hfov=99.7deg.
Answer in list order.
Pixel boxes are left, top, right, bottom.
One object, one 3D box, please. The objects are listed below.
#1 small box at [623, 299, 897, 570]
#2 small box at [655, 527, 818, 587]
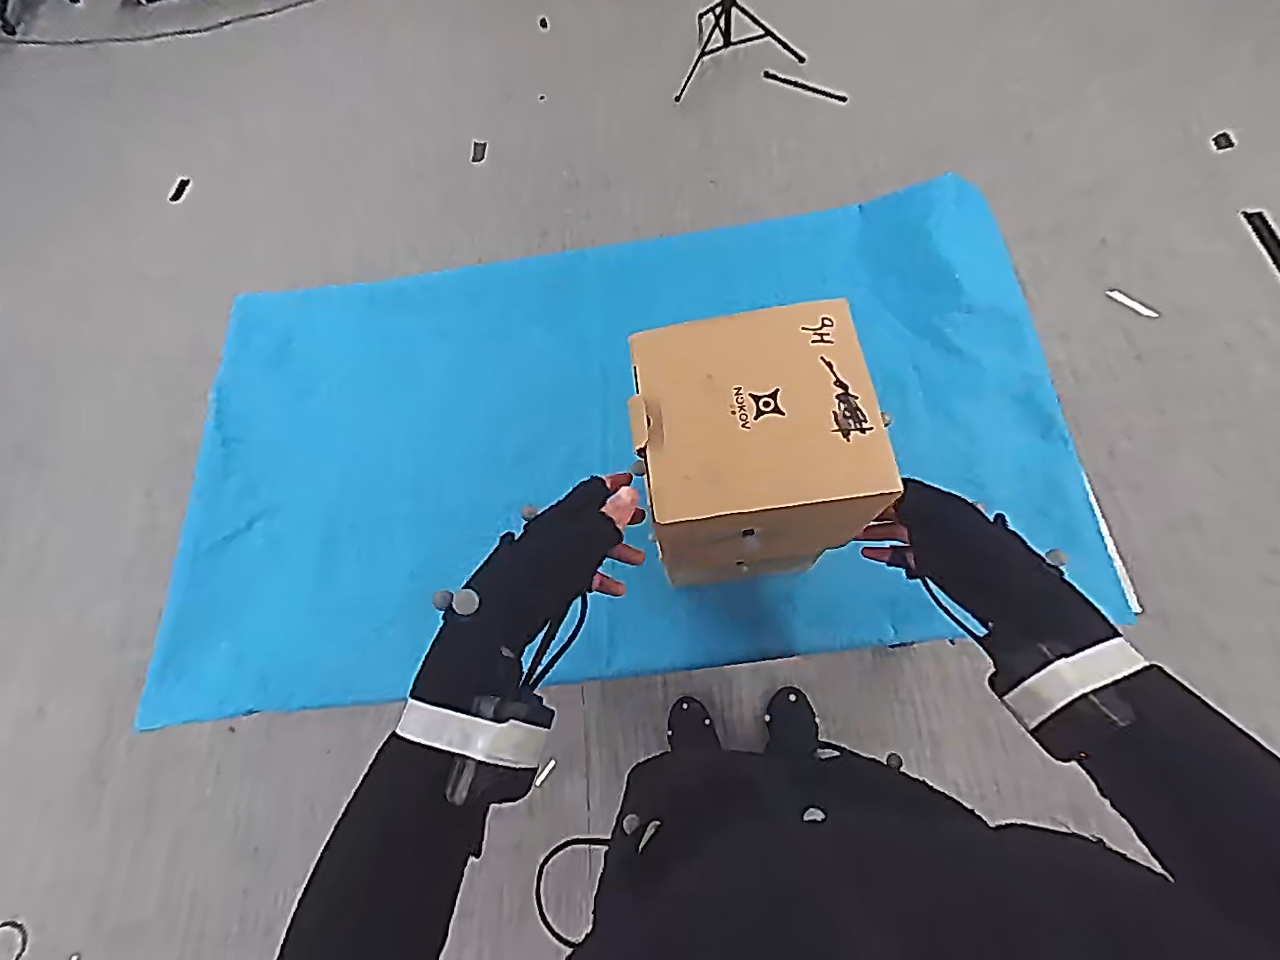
[{"bbox_3d":[0.093,-0.025,0.480,0.179,0.176,0.168,-11,69,4],"label":"small box"},{"bbox_3d":[0.109,0.025,0.634,0.179,0.176,0.168,-8,69,6],"label":"small box"}]
